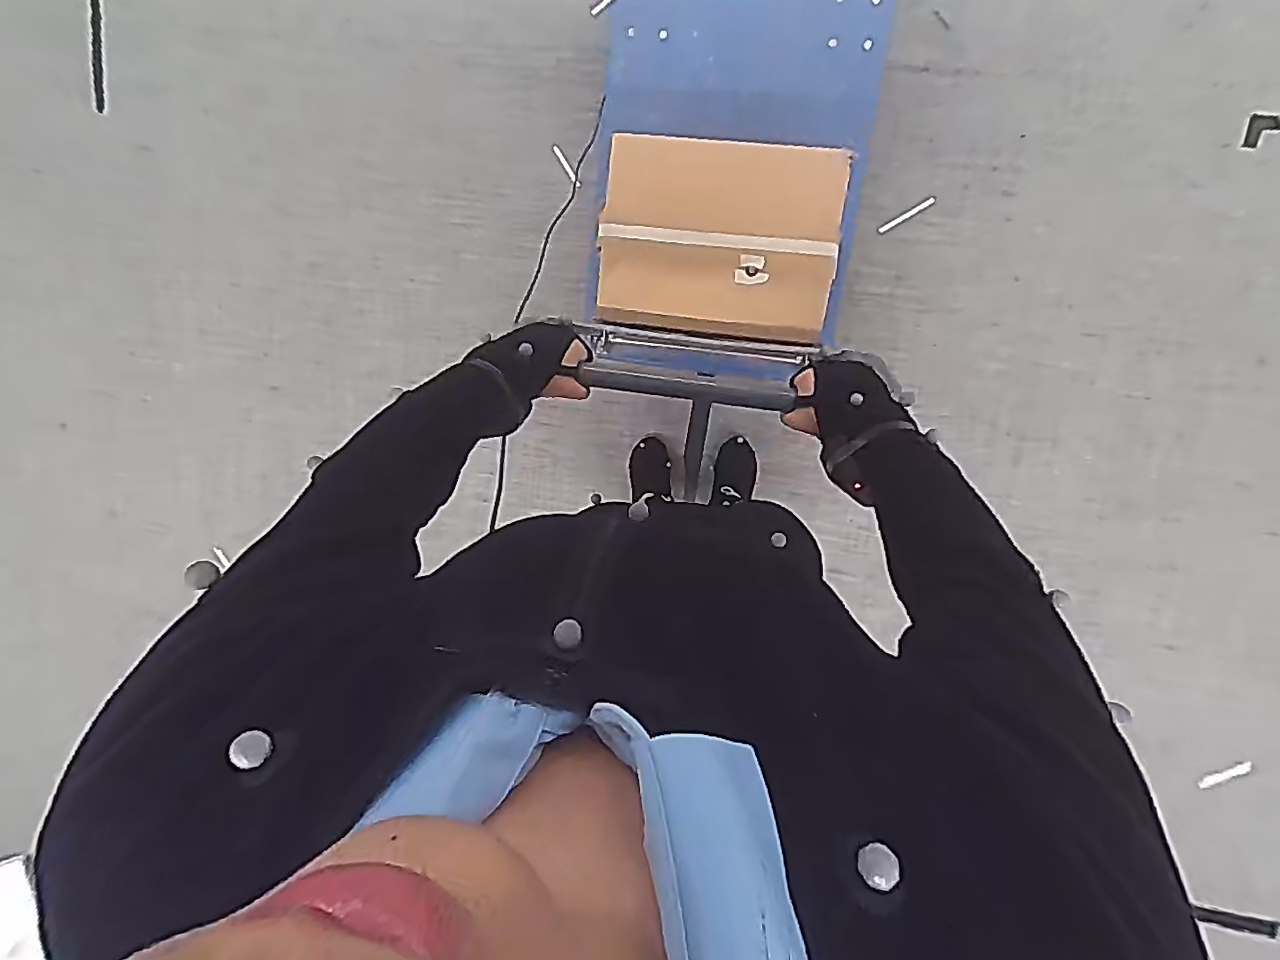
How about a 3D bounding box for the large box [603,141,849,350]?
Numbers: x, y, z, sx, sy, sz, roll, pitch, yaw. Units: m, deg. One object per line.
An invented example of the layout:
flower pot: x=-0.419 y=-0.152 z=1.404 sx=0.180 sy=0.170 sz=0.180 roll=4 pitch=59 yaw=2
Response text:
large box: x=0.156 y=-0.446 z=1.099 sx=0.408 sy=0.320 sz=0.320 roll=8 pitch=102 yaw=5
